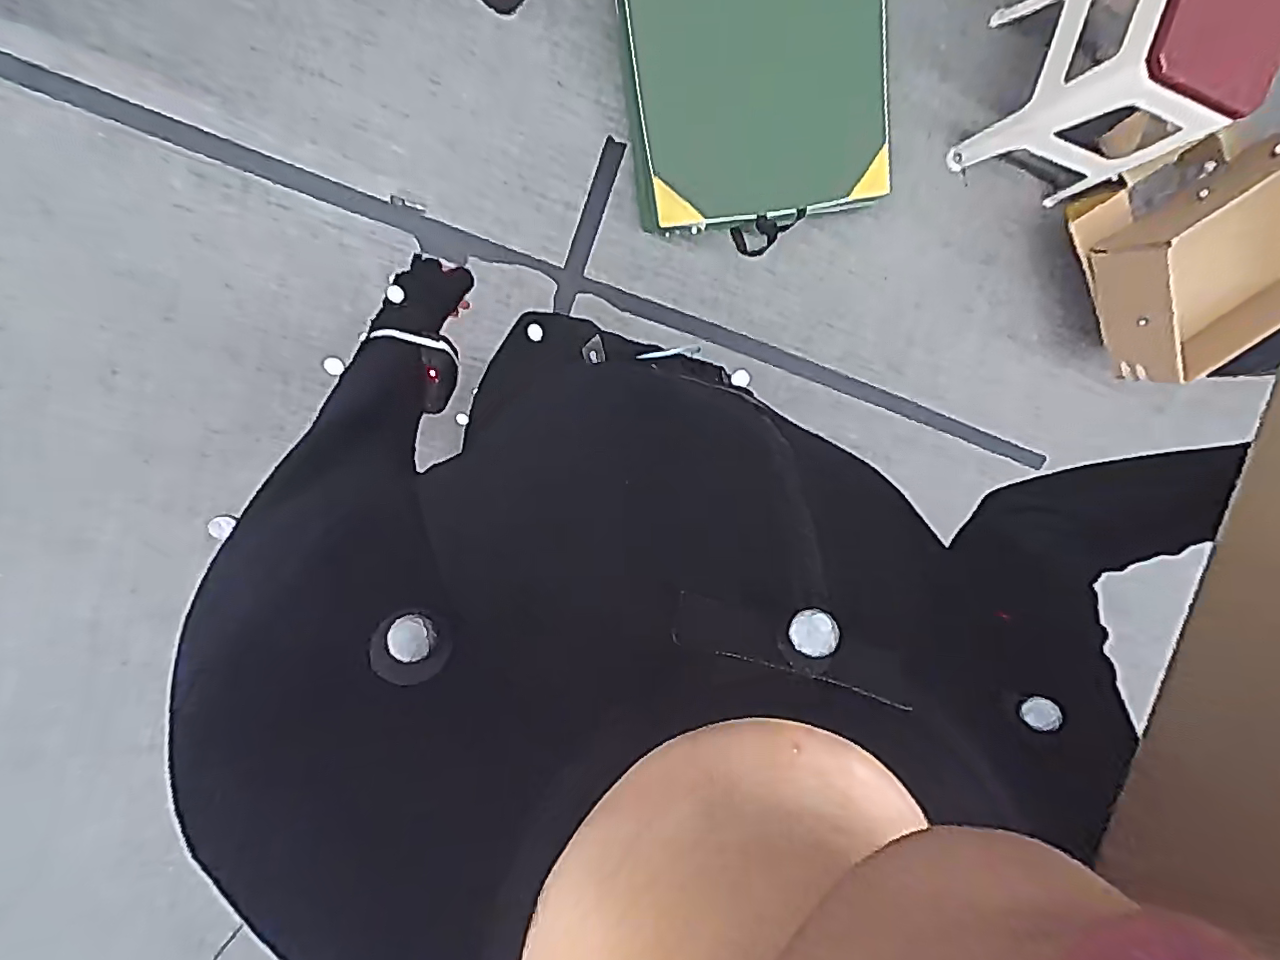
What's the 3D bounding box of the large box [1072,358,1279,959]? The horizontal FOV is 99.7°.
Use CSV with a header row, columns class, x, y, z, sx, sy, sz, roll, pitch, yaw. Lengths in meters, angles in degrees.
class,x,y,z,sx,sy,sz,roll,pitch,yaw
large box,0.419,0.064,0.114,0.408,0.320,0.320,-36,79,-28
